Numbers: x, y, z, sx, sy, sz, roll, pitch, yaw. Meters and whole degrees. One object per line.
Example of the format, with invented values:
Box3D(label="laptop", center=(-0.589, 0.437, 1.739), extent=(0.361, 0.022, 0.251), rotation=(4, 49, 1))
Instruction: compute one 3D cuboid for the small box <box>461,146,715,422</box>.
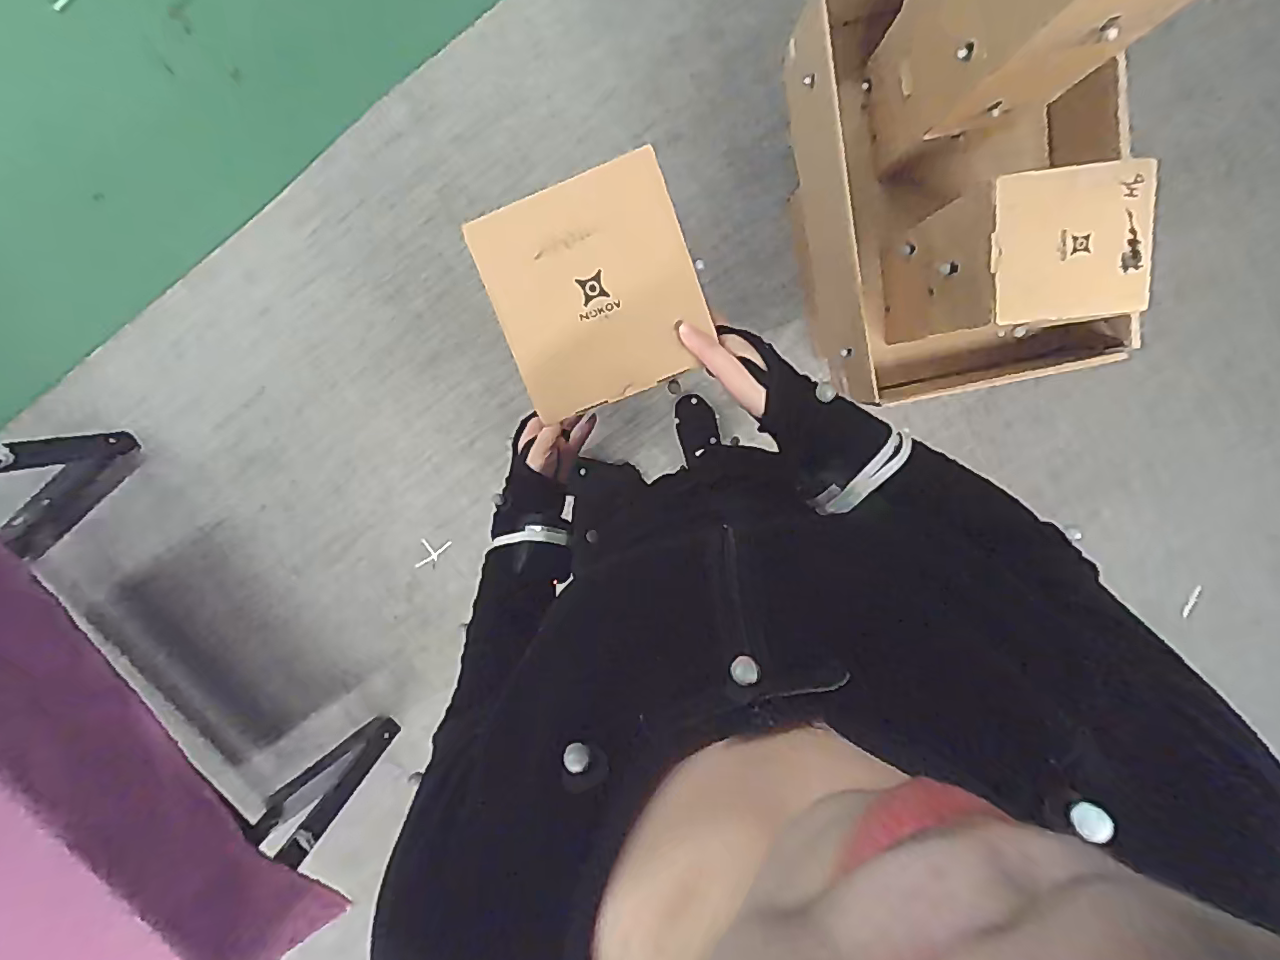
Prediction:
Box3D(label="small box", center=(-0.037, -0.171, 0.518), extent=(0.168, 0.176, 0.179), rotation=(-20, 100, 5))

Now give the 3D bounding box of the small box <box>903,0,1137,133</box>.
Box3D(label="small box", center=(0.438, -0.561, 0.648), extent=(0.168, 0.176, 0.179), rotation=(-12, 102, 5))

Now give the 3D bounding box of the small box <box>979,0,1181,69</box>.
Box3D(label="small box", center=(0.431, -0.526, 0.487), extent=(0.168, 0.176, 0.179), rotation=(-13, 102, 5))

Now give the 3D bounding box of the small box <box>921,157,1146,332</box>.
Box3D(label="small box", center=(0.485, -0.287, 0.696), extent=(0.179, 0.176, 0.168), rotation=(-5, 101, 3))
